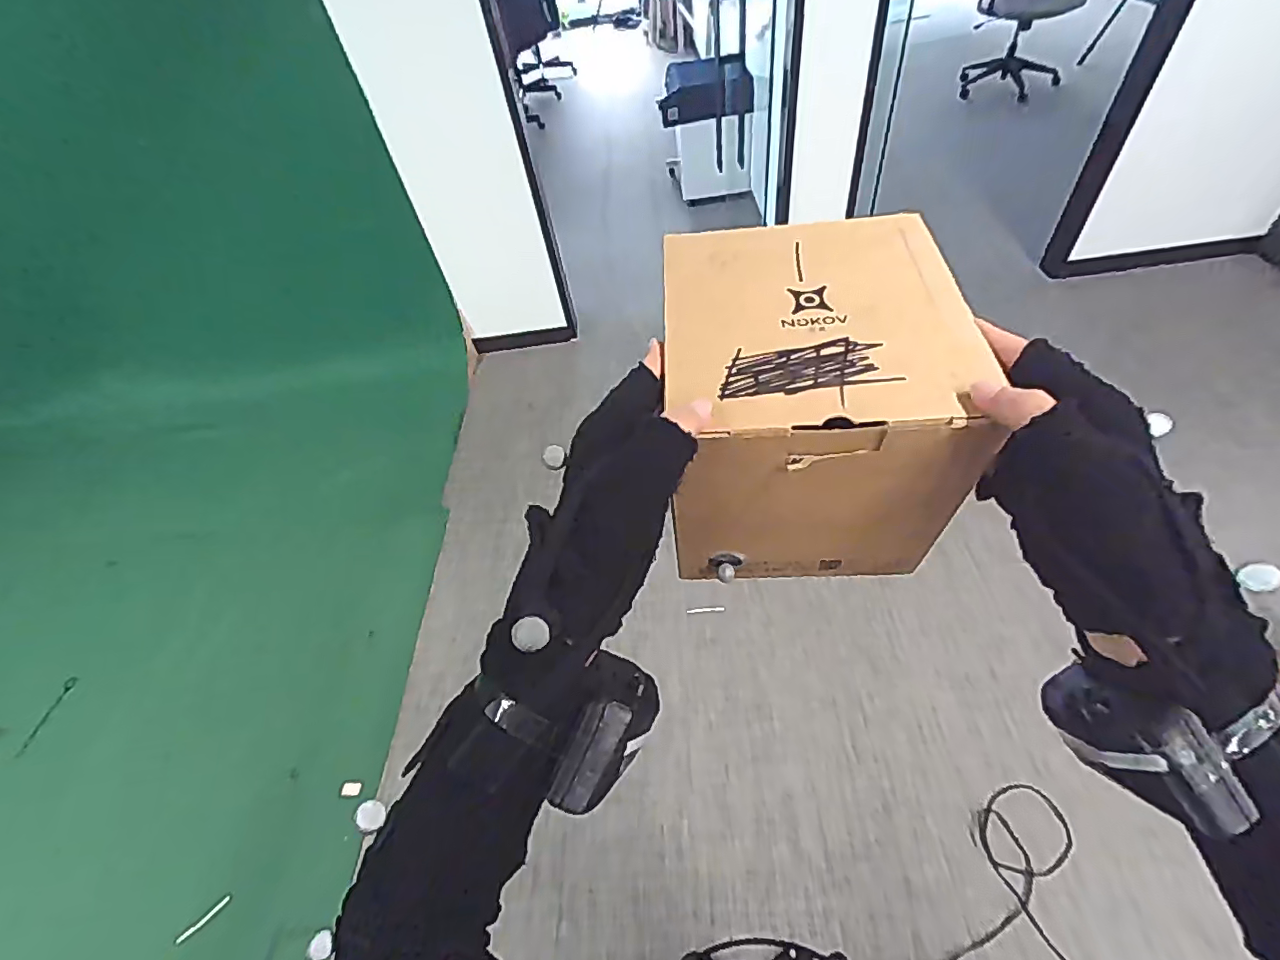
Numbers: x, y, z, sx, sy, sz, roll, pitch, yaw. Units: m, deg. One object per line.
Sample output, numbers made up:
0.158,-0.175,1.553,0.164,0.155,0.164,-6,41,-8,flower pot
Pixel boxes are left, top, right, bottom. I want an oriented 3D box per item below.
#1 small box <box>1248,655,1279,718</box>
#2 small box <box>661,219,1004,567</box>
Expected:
1.525,0.464,1.181,0.168,0.176,0.179,-6,49,5,small box
0.104,-0.048,0.375,0.168,0.176,0.179,-2,54,6,small box
